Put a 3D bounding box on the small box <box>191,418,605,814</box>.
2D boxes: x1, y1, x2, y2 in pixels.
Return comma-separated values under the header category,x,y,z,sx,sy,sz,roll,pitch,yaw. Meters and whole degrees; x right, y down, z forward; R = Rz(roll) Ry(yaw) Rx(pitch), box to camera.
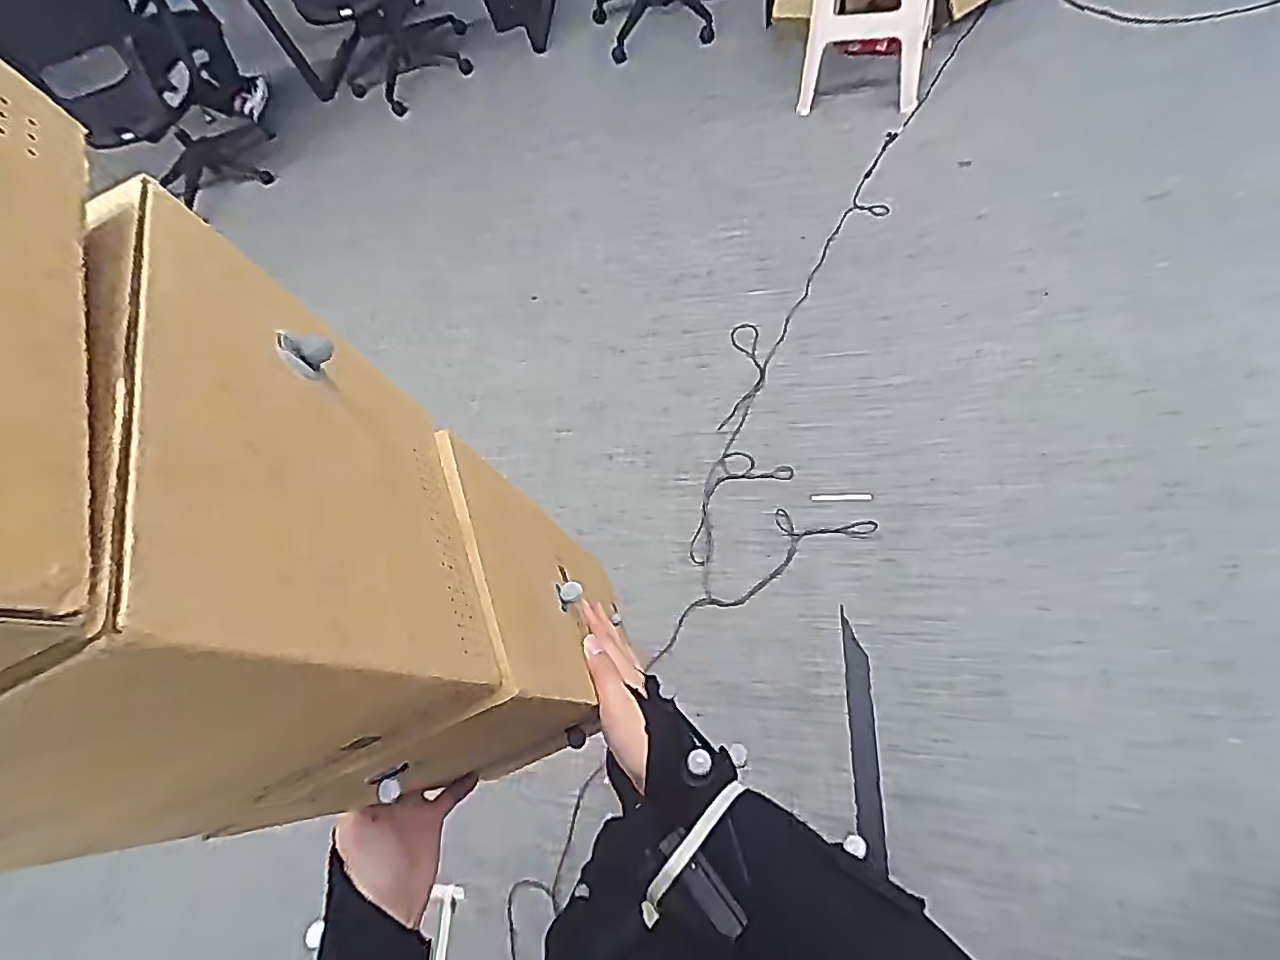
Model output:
category,x,y,z,sx,sy,sz,roll,pitch,yaw
small box,-0.146,0.095,0.363,0.179,0.176,0.168,-25,63,2
